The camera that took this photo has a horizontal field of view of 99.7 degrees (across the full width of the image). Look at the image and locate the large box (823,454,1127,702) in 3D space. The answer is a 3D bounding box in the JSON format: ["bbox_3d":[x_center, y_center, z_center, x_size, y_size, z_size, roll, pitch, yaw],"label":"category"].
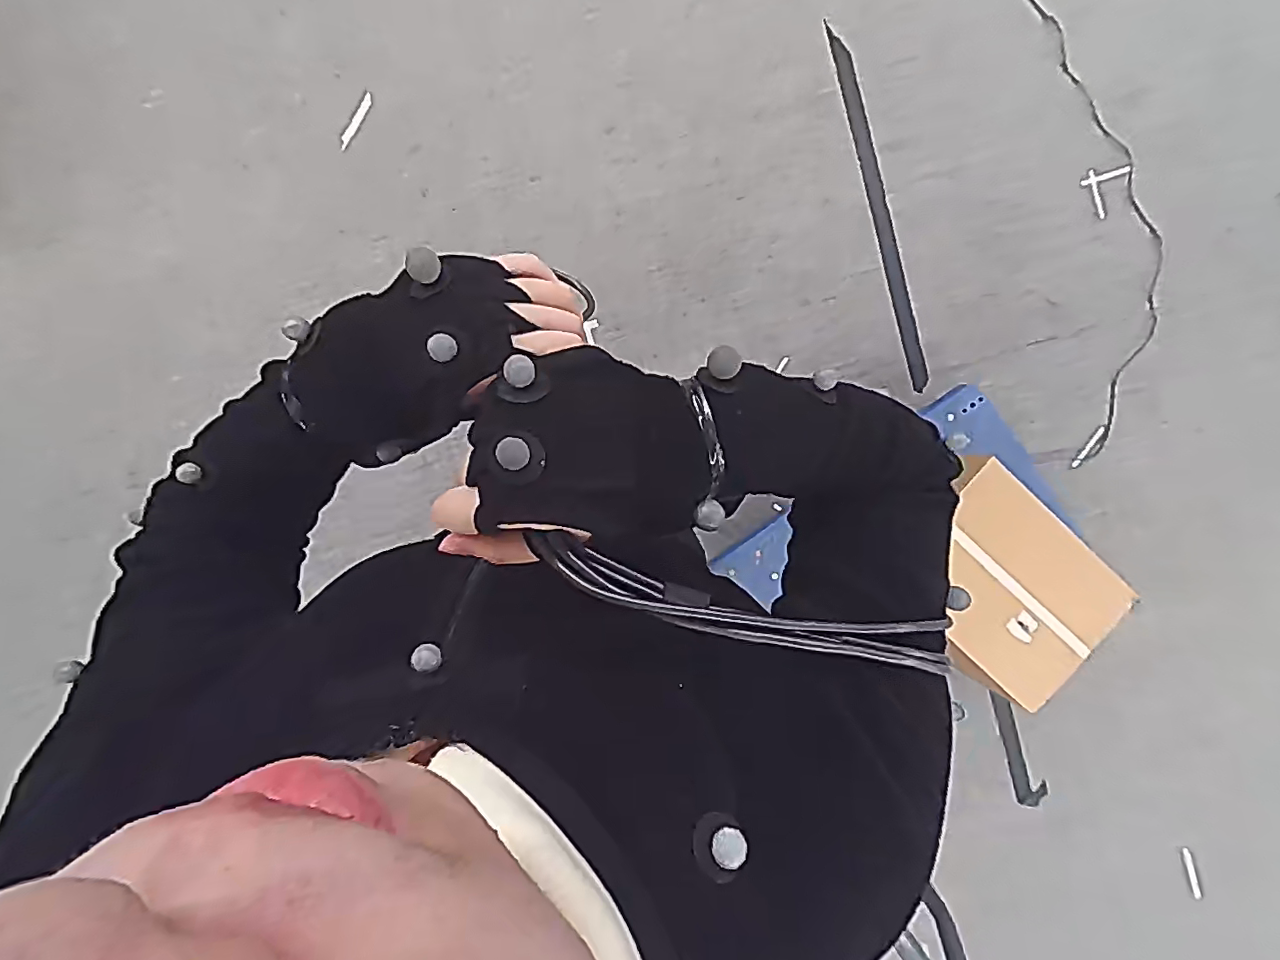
[{"bbox_3d":[0.693,0.186,1.185,0.408,0.320,0.320,43,91,-3],"label":"large box"}]
